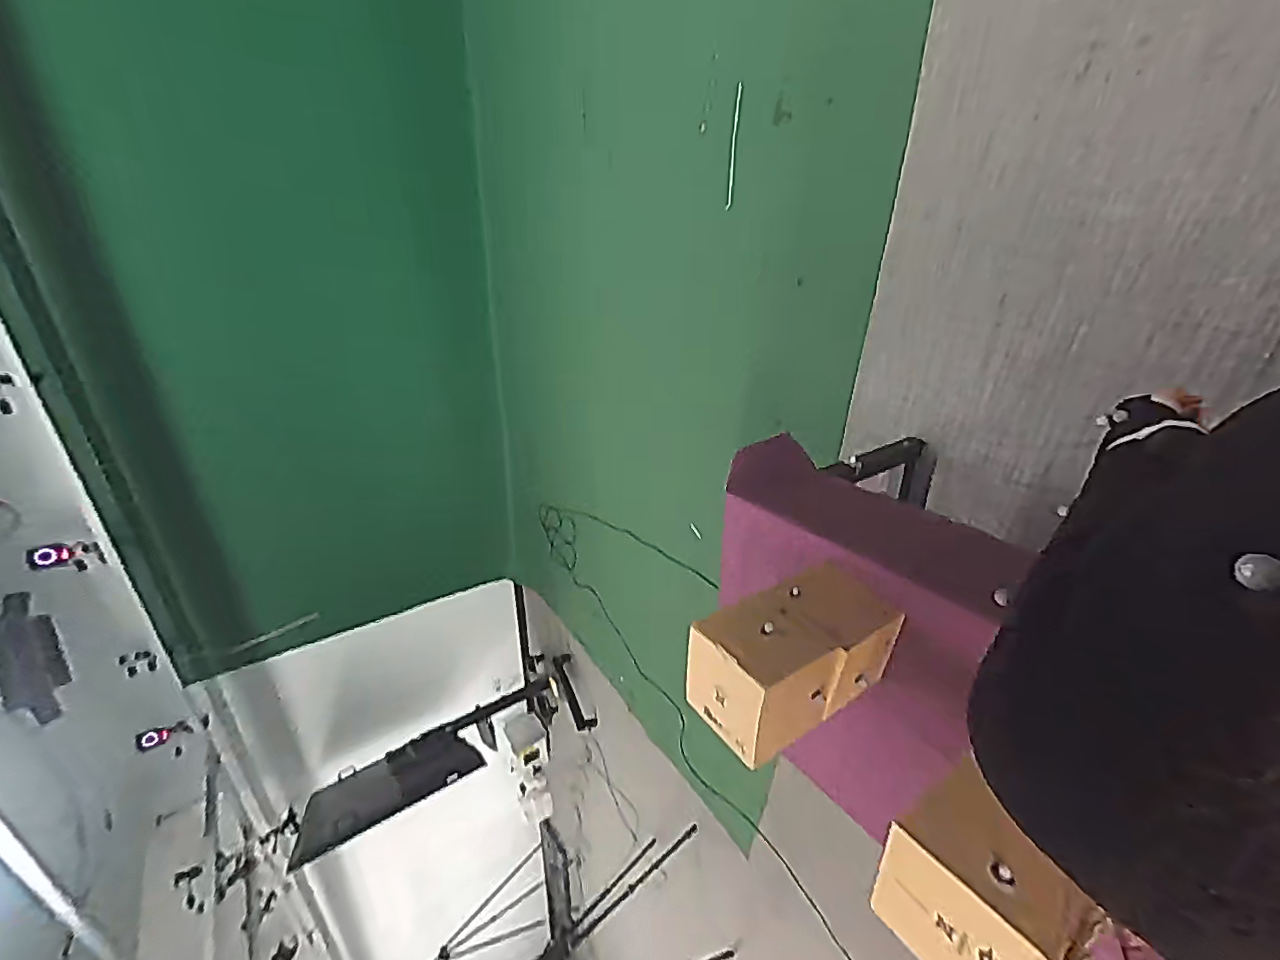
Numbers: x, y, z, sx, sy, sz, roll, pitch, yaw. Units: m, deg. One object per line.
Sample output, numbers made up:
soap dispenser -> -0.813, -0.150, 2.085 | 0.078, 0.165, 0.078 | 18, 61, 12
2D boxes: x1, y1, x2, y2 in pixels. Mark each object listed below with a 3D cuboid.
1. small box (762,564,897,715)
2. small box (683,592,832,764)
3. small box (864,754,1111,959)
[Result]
small box -> 0.330, 0.277, 0.981 | 0.179, 0.176, 0.168 | 38, 134, 44
small box -> 0.193, 0.315, 0.898 | 0.168, 0.176, 0.179 | 34, 131, 47
small box -> 0.402, 0.469, 0.636 | 0.179, 0.176, 0.168 | 31, 129, 49
